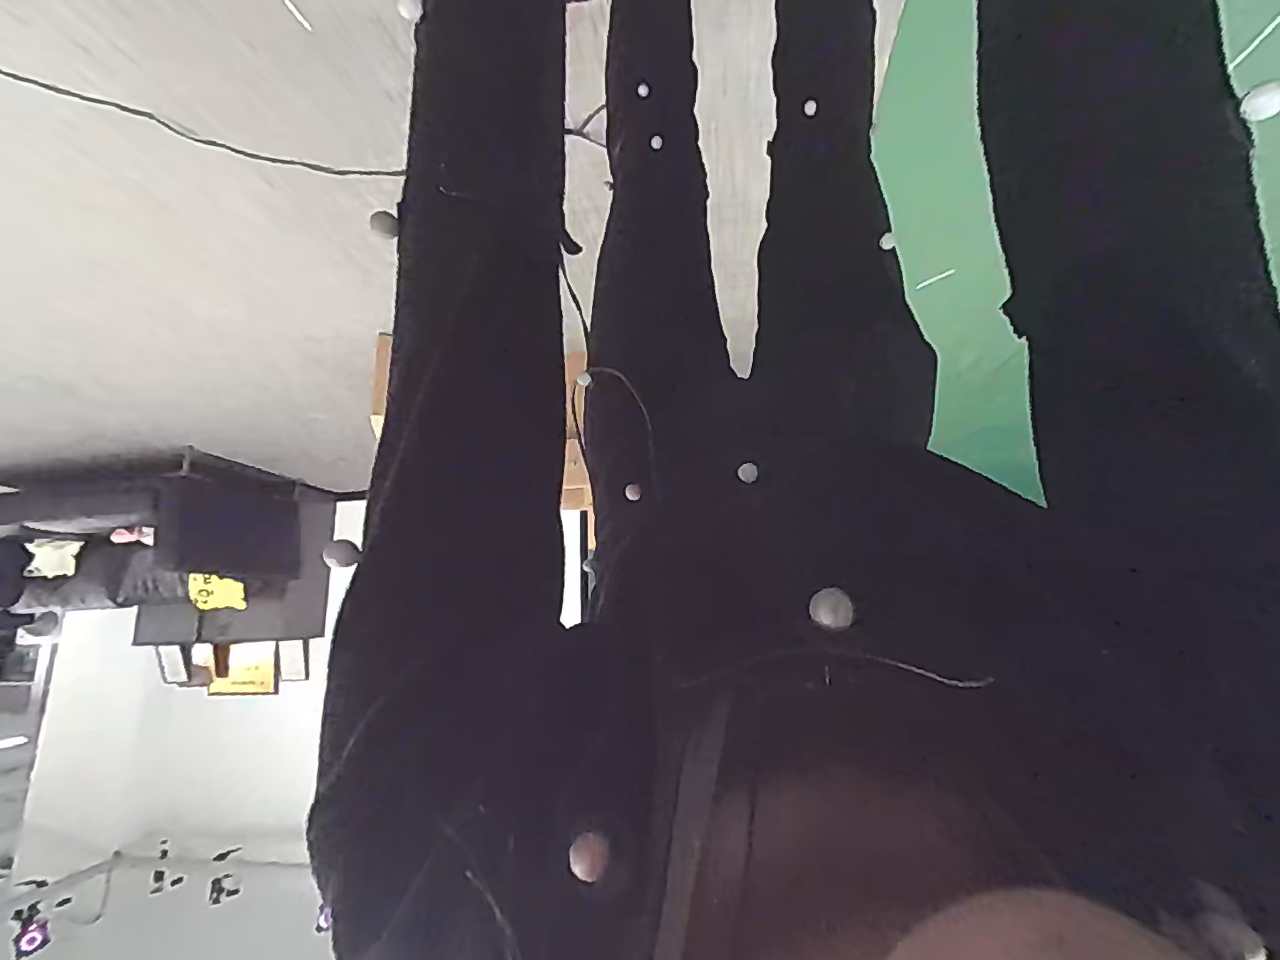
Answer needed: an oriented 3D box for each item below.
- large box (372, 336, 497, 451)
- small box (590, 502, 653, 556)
[{"bbox_3d":[-0.773,-0.315,2.064,0.408,0.320,0.320,5,164,-20],"label":"large box"},{"bbox_3d":[-0.069,0.185,2.016,0.179,0.176,0.168,-13,162,36],"label":"small box"}]
